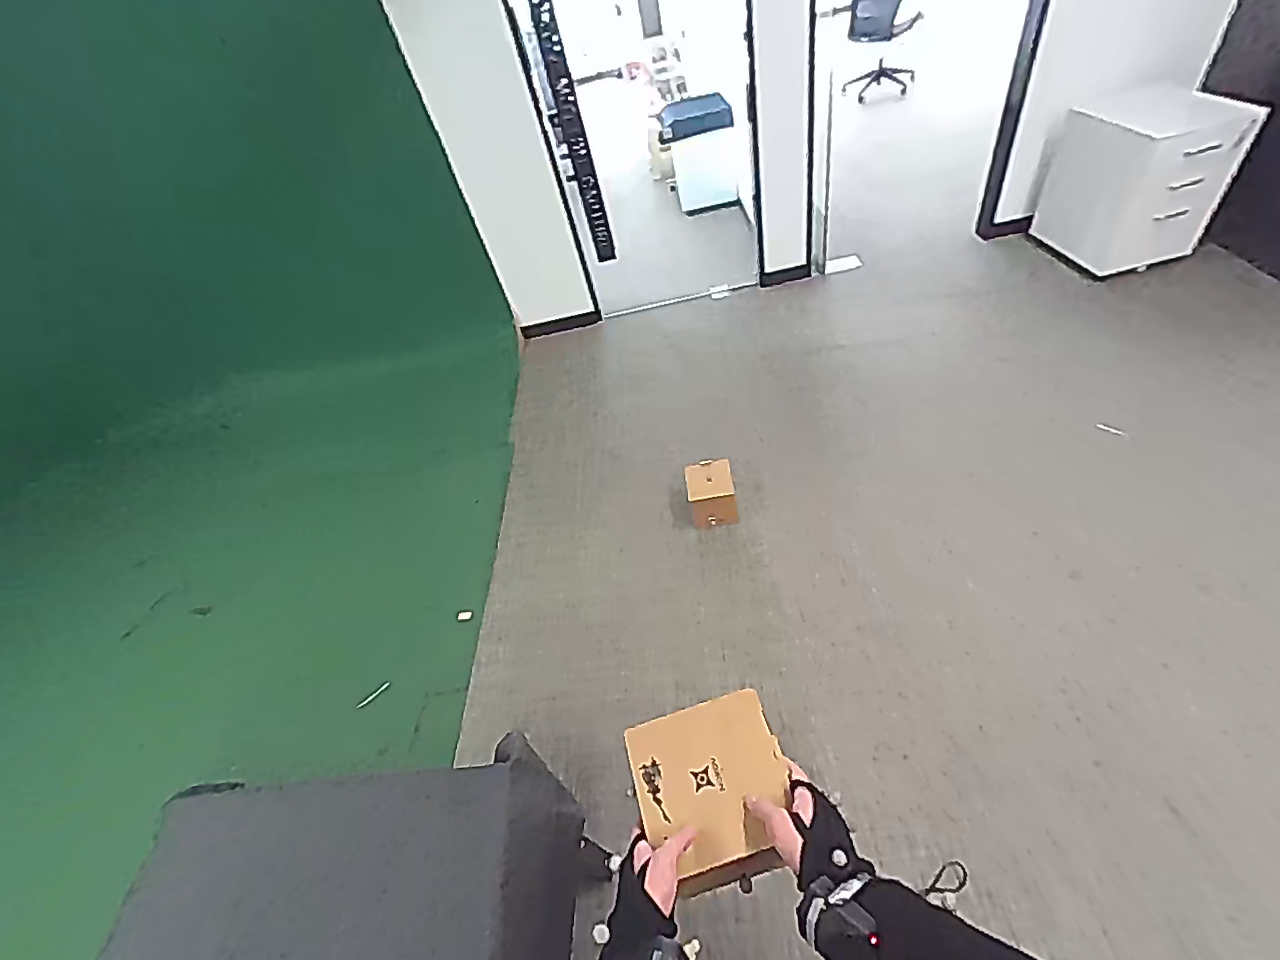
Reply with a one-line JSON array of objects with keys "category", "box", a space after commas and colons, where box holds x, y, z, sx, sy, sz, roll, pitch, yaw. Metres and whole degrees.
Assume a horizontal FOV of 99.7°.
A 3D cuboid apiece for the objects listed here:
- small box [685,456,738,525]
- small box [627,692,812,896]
[{"category": "small box", "box": [0.260, 0.040, 1.977, 0.168, 0.176, 0.179, -9, 46, 11]}, {"category": "small box", "box": [0.096, 0.398, 0.683, 0.179, 0.176, 0.168, -16, 47, -1]}]
